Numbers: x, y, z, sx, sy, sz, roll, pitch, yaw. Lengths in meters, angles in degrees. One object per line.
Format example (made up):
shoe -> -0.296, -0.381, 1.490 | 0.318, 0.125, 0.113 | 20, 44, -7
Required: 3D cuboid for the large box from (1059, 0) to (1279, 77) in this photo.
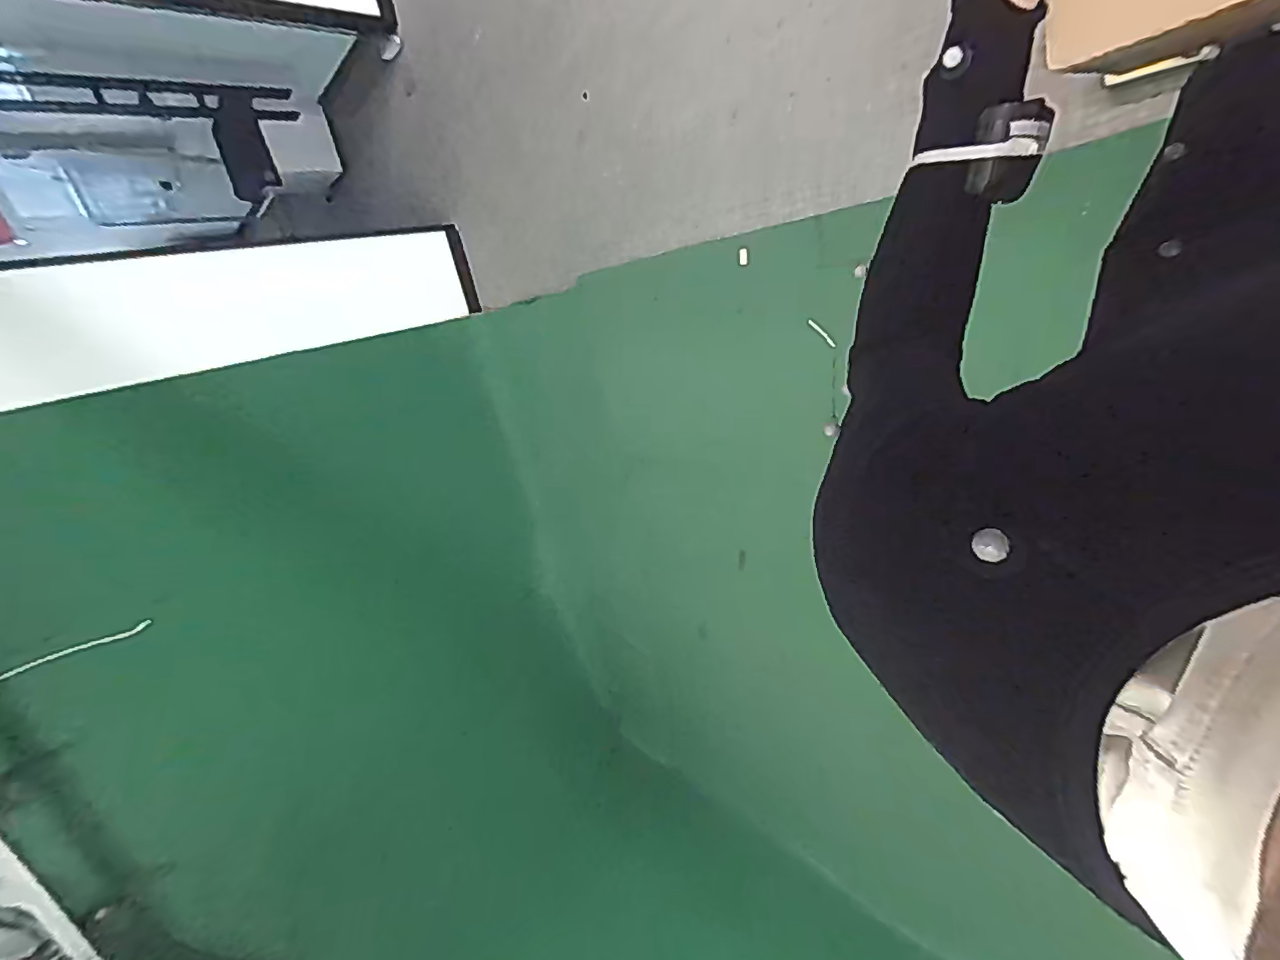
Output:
large box -> 0.502, -0.494, 0.296 | 0.408, 0.320, 0.320 | 5, 119, 46
